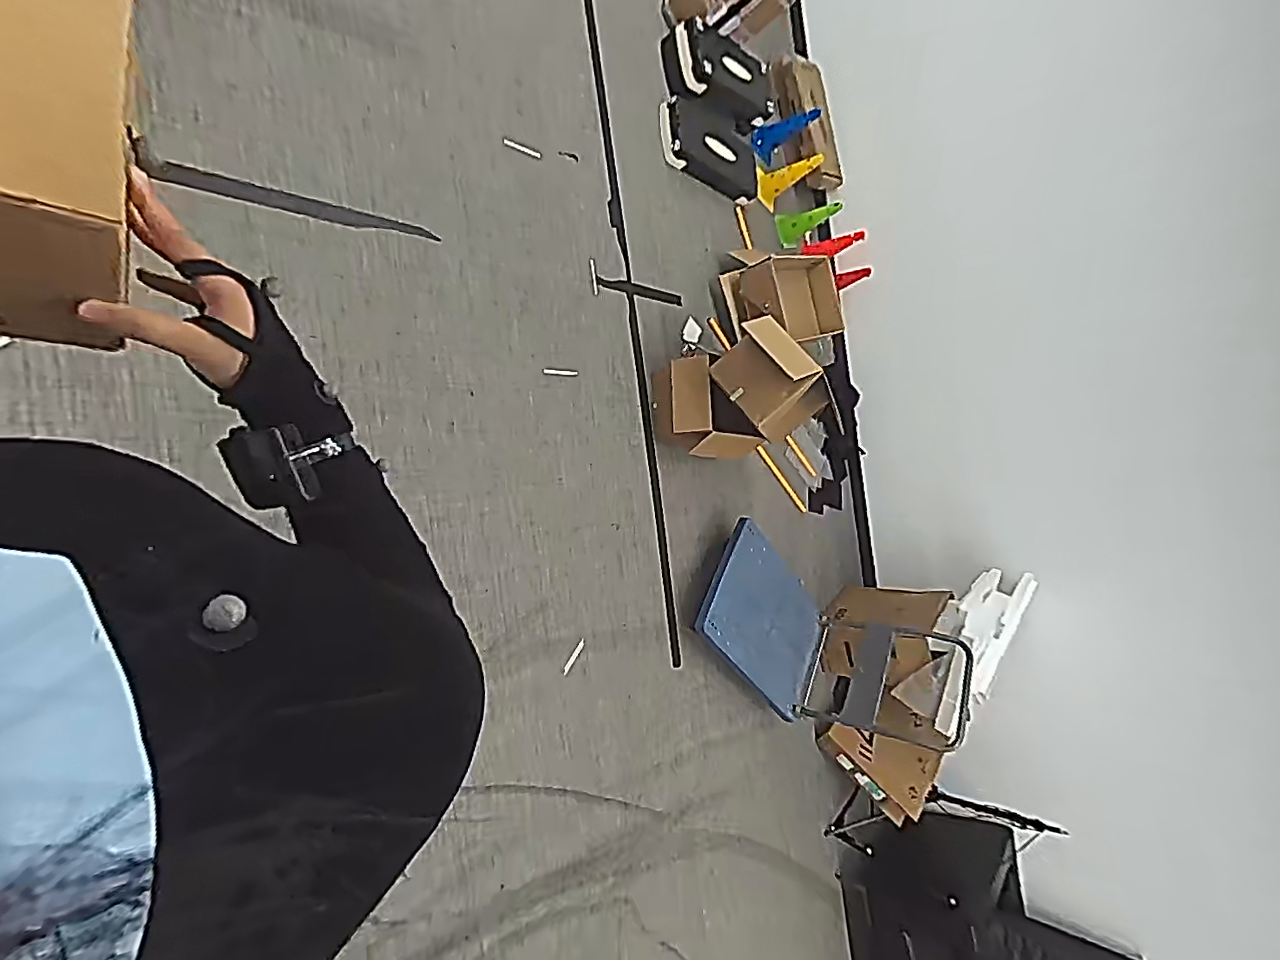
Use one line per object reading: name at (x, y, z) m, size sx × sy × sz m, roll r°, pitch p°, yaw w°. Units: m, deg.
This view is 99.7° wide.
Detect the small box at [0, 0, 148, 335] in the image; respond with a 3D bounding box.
small box at (-0.384, -0.205, 0.293) m, size 0.168 × 0.176 × 0.179 m, roll 1°, pitch 77°, yaw -44°
